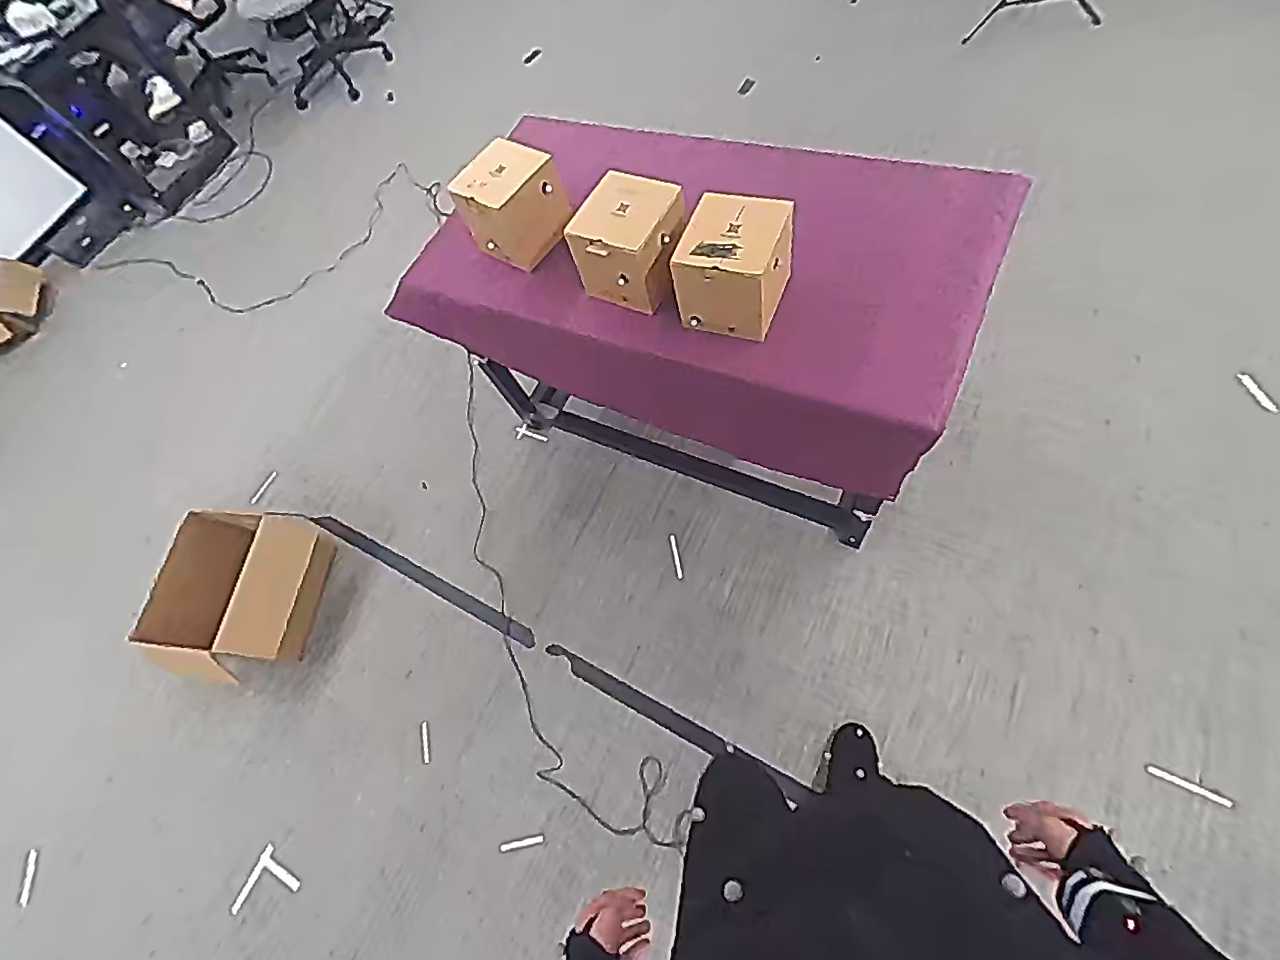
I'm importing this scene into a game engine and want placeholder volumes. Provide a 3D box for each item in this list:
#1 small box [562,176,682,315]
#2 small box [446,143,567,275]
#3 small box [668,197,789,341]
[{"bbox_3d":[-0.022,-0.461,1.076,0.168,0.176,0.179,25,73,21],"label":"small box"},{"bbox_3d":[-0.283,-0.596,1.196,0.168,0.176,0.179,31,76,24],"label":"small box"},{"bbox_3d":[0.169,-0.383,0.995,0.168,0.176,0.179,17,69,20],"label":"small box"}]
